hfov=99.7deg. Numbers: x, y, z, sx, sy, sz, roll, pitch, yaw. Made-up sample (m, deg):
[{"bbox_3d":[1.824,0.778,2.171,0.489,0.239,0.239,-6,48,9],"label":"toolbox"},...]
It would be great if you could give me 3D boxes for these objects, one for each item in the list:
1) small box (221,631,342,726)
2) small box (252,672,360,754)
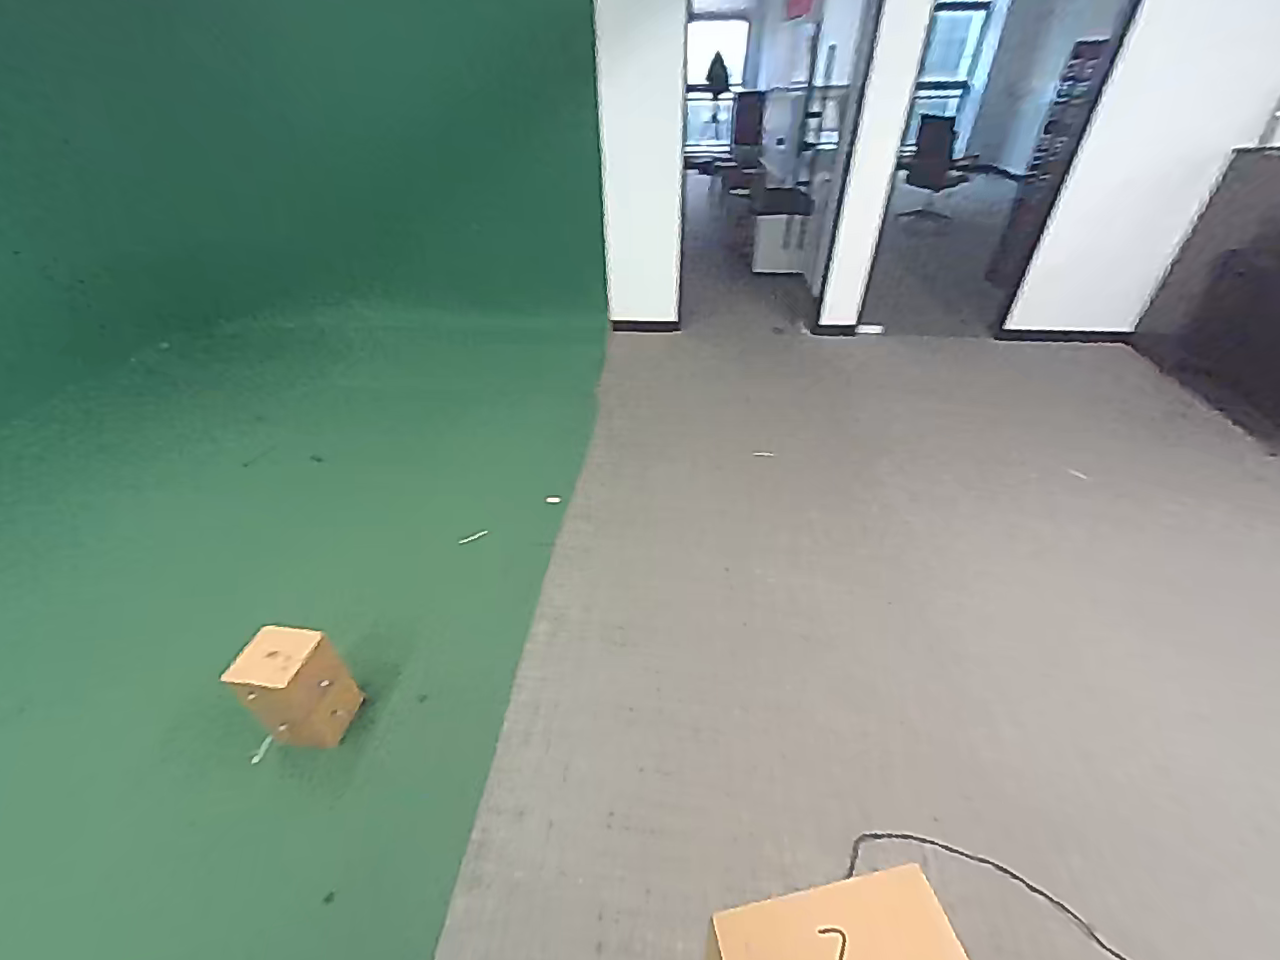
[{"bbox_3d":[-0.938,0.527,1.430,0.179,0.176,0.168,5,39,7],"label":"small box"},{"bbox_3d":[-0.934,0.655,1.535,0.179,0.176,0.168,2,38,6],"label":"small box"}]
